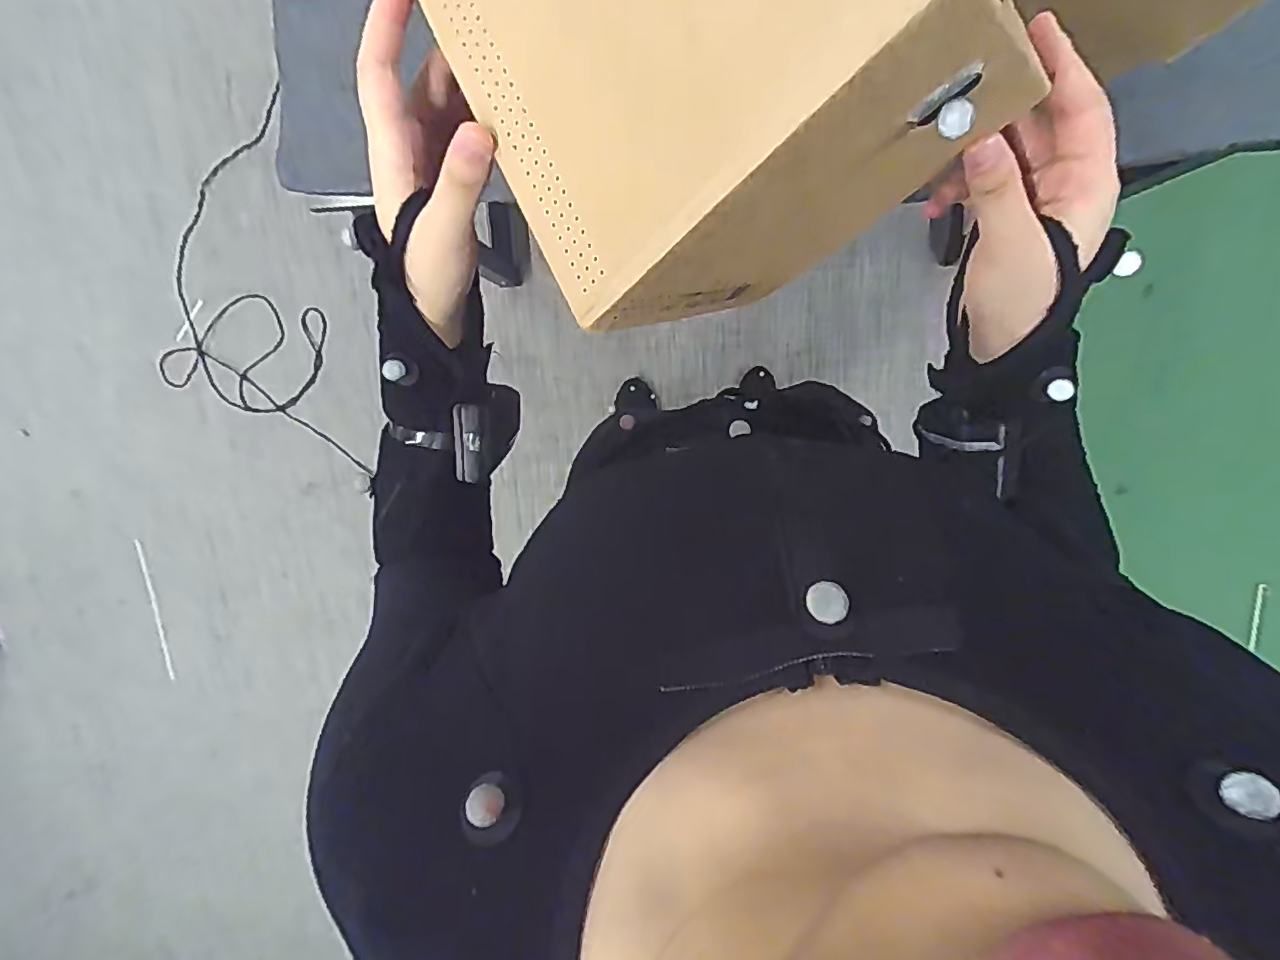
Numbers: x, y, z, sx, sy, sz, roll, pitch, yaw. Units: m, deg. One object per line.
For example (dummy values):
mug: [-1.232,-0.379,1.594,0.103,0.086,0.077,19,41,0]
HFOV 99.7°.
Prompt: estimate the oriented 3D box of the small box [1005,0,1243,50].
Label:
small box: [0.390,-0.450,0.384,0.179,0.176,0.168,11,100,4]

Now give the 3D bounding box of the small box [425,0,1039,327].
small box: [0.034,-0.195,0.241,0.176,0.168,0.179,-27,90,47]

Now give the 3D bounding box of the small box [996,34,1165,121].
small box: [0.402,-0.493,0.541,0.168,0.176,0.179,0,100,5]
